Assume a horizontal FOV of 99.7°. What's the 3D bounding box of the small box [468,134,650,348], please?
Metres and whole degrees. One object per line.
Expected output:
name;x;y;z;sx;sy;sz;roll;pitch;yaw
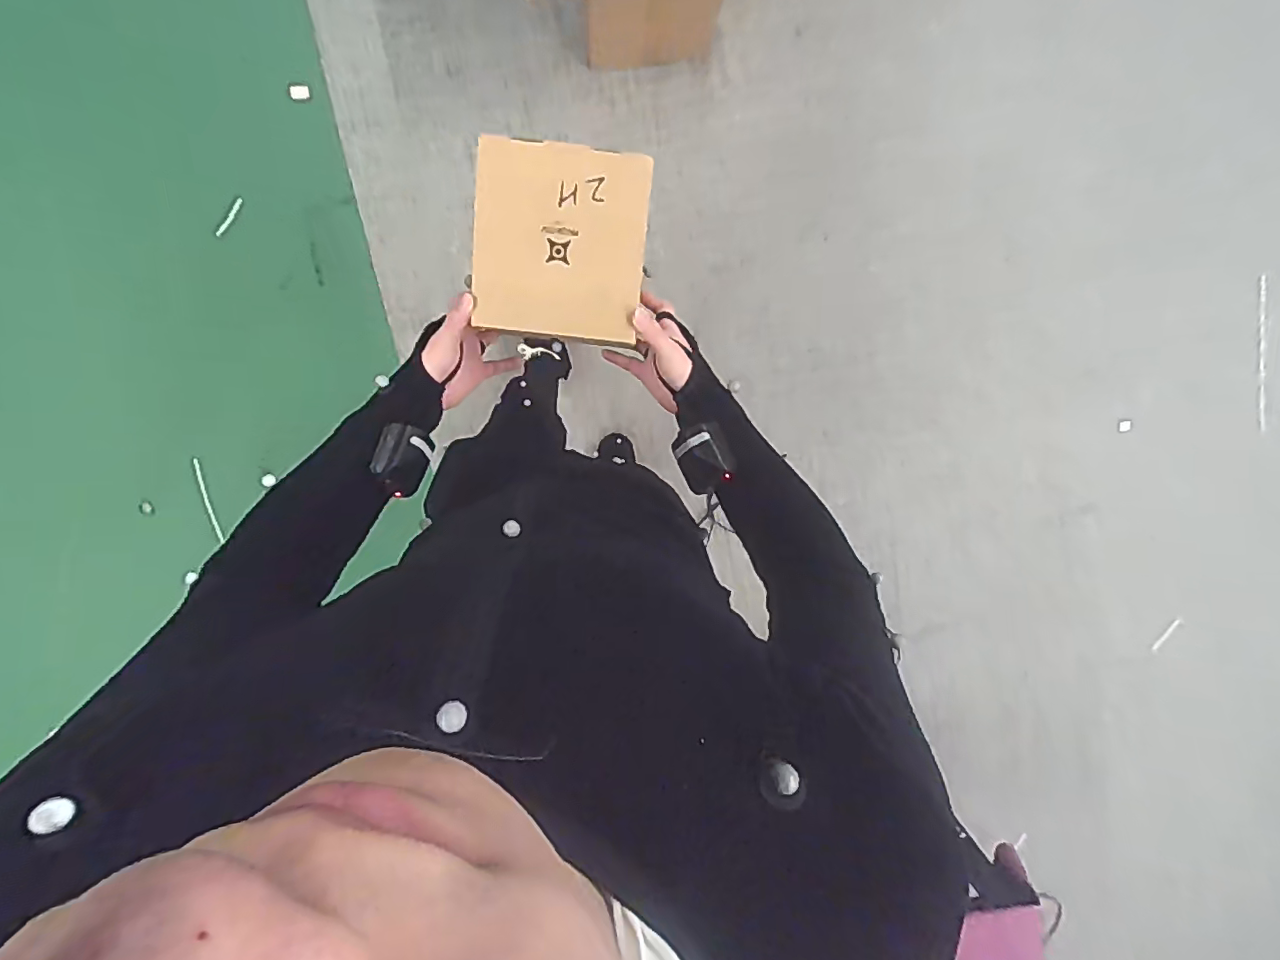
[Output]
small box;-0.083;-0.245;0.602;0.168;0.176;0.179;6;101;-4
